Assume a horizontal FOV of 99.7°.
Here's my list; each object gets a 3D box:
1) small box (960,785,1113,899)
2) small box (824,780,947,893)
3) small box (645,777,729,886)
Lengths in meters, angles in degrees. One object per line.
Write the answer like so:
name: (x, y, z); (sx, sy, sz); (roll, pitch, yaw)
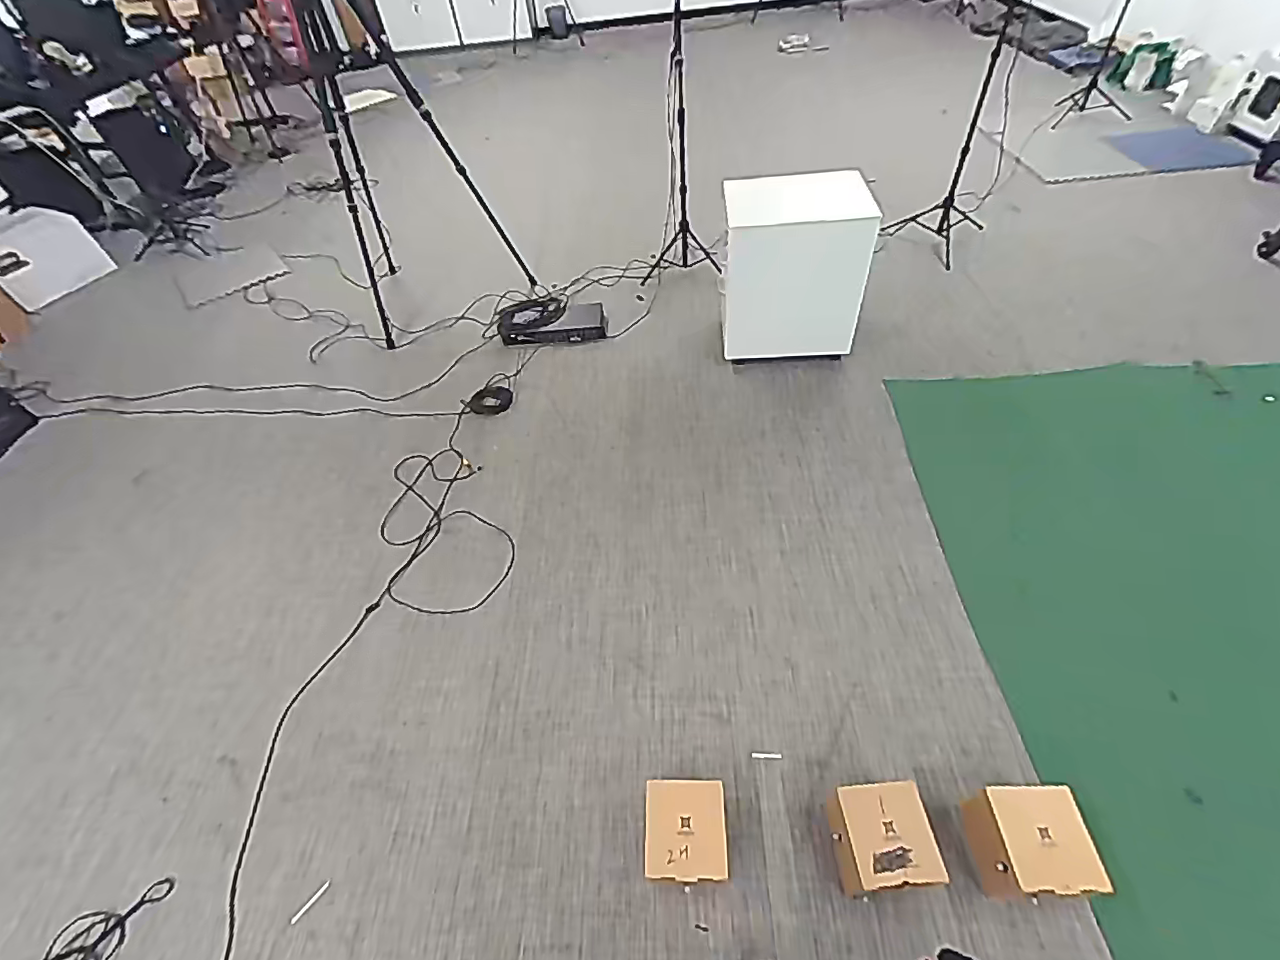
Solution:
small box: (0.794, 0.743, 1.110); (0.168, 0.176, 0.179); (-3, 49, 4)
small box: (0.502, 0.750, 1.133); (0.168, 0.176, 0.179); (-5, 48, 1)
small box: (0.101, 0.759, 1.167); (0.168, 0.176, 0.179); (-2, 50, 6)
